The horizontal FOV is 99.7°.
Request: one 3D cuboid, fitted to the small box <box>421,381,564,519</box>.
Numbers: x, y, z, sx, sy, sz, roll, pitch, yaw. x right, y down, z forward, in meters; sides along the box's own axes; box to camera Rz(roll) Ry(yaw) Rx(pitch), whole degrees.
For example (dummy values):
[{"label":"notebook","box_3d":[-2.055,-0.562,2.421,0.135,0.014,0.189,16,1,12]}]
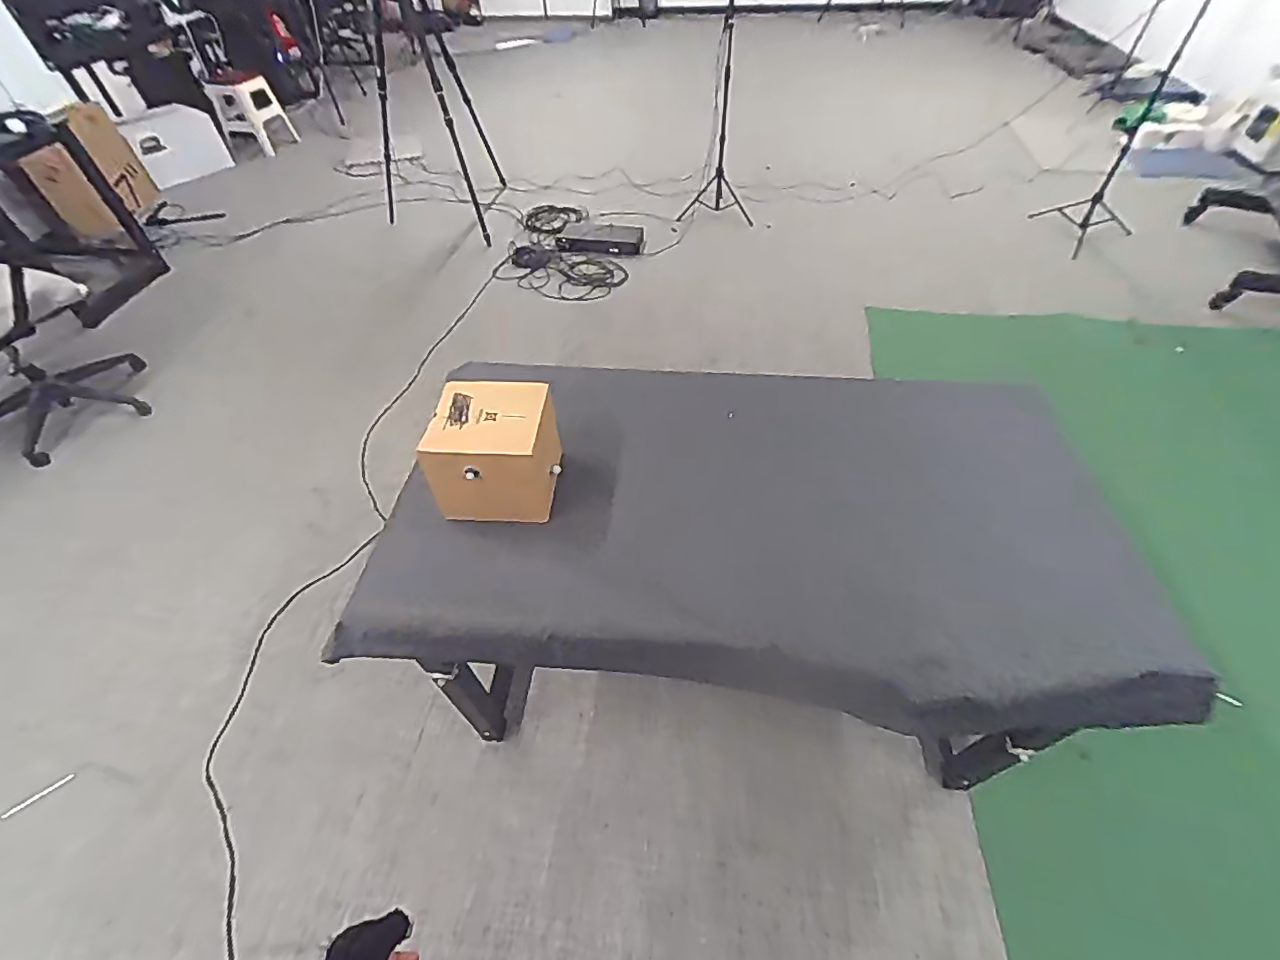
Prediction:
[{"label":"small box","box_3d":[-0.234,-0.048,0.910,0.179,0.176,0.168,2,50,2]}]
